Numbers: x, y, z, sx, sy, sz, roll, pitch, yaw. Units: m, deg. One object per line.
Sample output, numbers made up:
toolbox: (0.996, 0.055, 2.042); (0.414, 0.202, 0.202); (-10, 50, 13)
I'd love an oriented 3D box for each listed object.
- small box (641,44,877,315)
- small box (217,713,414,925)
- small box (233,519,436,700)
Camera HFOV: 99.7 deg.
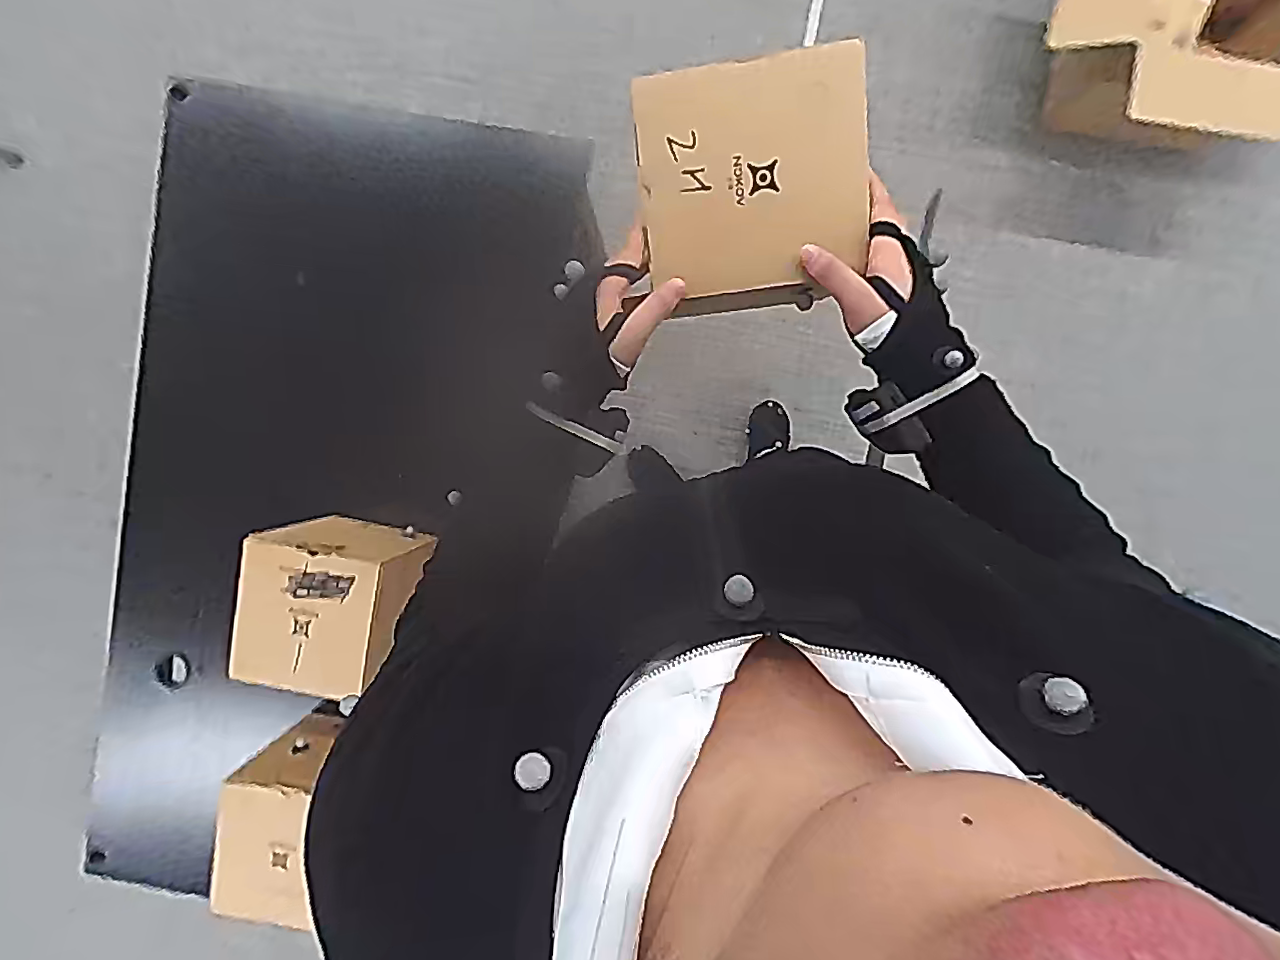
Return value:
small box: (0.100, -0.249, 0.496); (0.179, 0.176, 0.168); (-4, 101, 7)
small box: (-0.430, 0.449, 0.743); (0.168, 0.176, 0.179); (7, 95, 3)
small box: (-0.390, 0.157, 0.720); (0.168, 0.176, 0.179); (11, 95, 2)
